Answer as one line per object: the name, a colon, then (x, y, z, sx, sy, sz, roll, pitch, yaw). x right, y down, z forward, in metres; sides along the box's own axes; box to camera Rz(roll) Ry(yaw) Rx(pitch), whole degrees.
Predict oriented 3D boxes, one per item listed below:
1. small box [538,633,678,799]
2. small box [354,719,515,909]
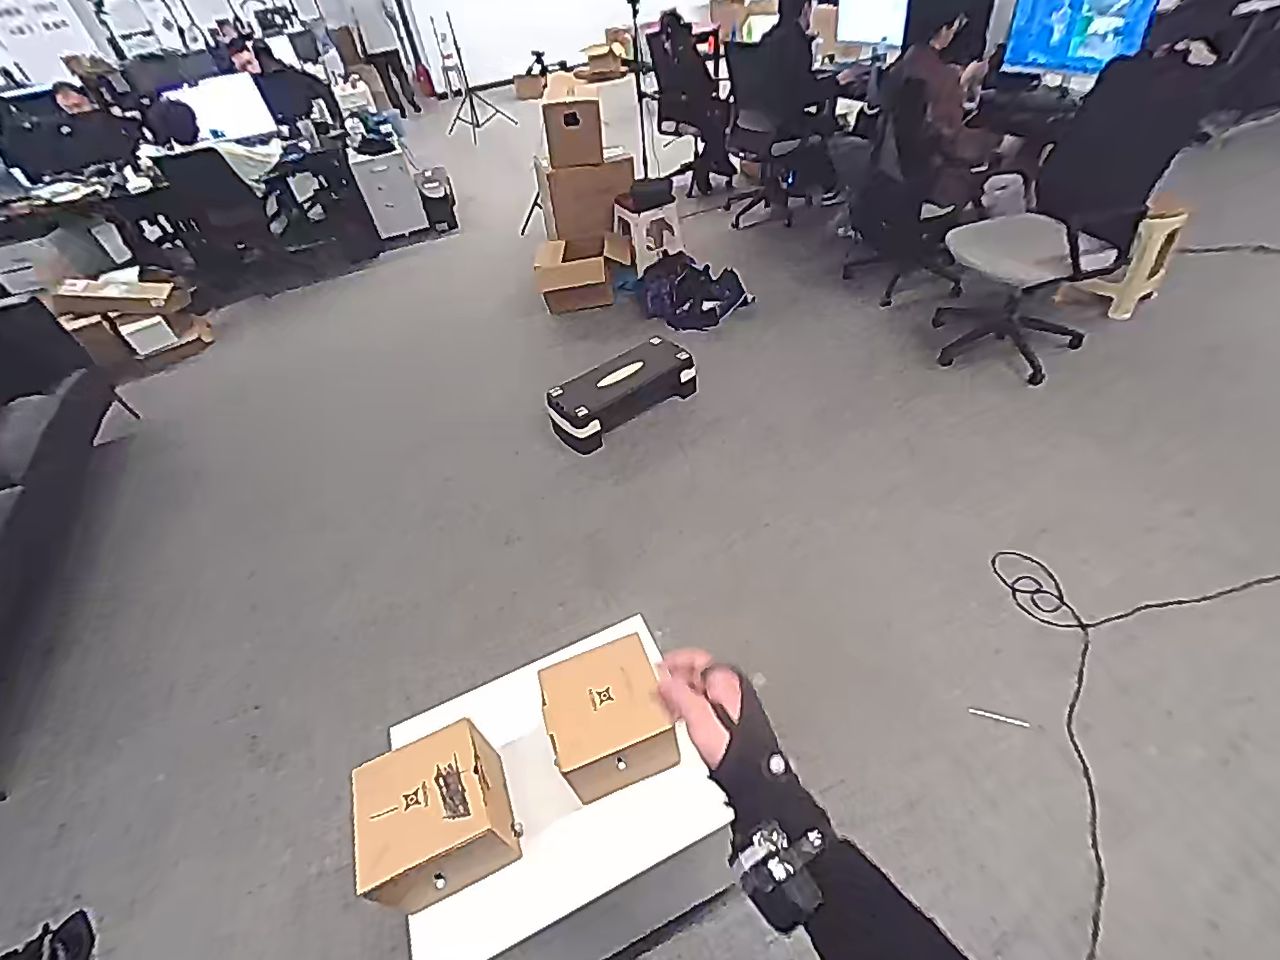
small box: (-0.048, 0.386, 0.879, 0.179, 0.176, 0.168, -19, 47, -10)
small box: (-0.297, 0.497, 0.806, 0.179, 0.176, 0.168, -22, 45, -12)
